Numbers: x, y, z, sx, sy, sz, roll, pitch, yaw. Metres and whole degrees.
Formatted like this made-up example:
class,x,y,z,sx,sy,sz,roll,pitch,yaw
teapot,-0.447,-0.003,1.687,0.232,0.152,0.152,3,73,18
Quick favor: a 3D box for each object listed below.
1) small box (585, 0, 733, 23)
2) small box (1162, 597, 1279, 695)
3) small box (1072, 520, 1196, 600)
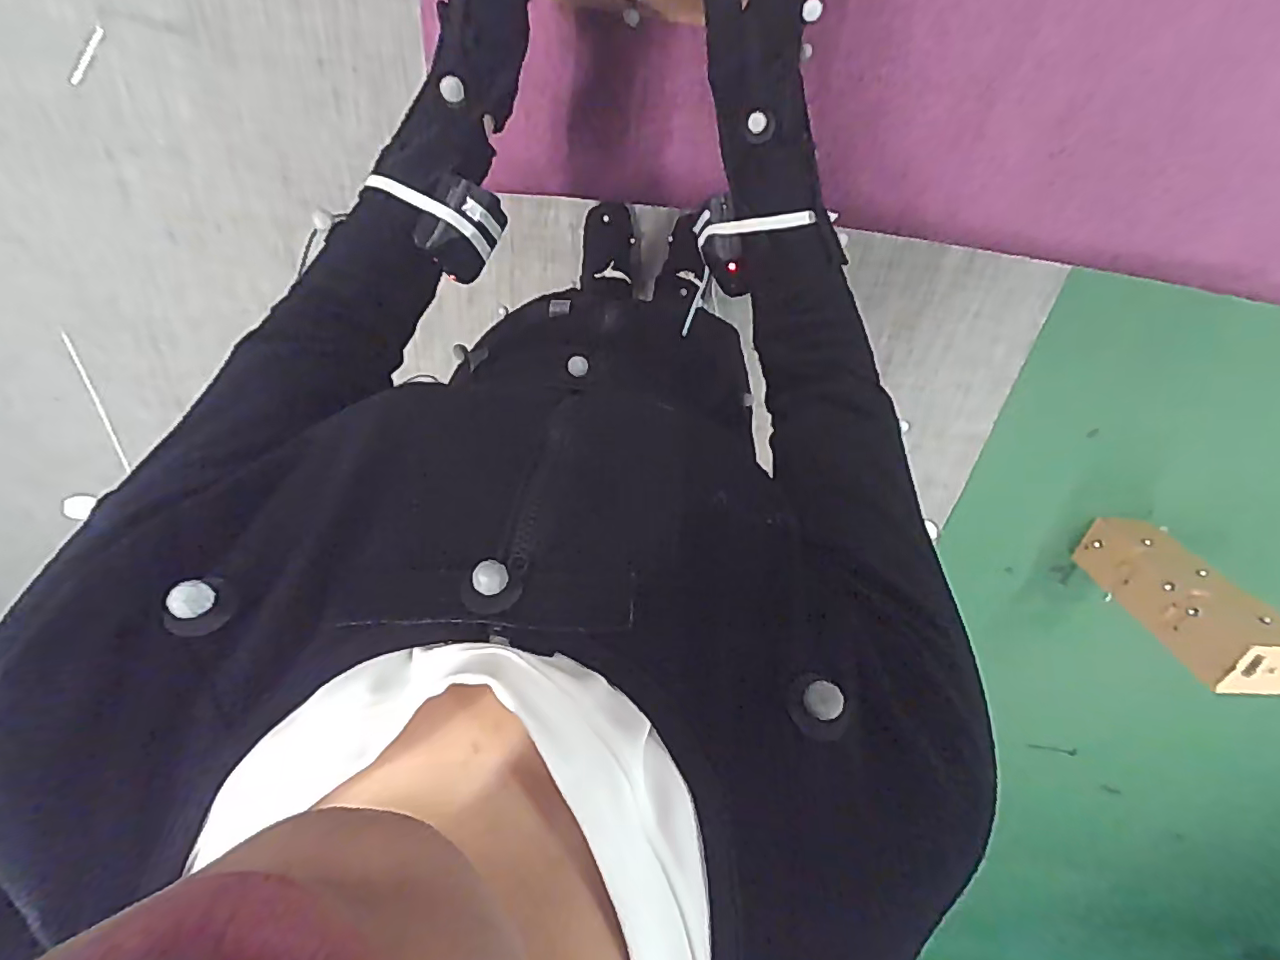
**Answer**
class,x,y,z,sx,sy,sz,roll,pitch,yaw
small box,0.009,-0.475,0.395,0.168,0.176,0.179,8,121,-3
small box,1.472,0.405,1.338,0.179,0.176,0.168,2,122,-1
small box,1.467,0.235,1.620,0.179,0.176,0.168,8,121,-2
